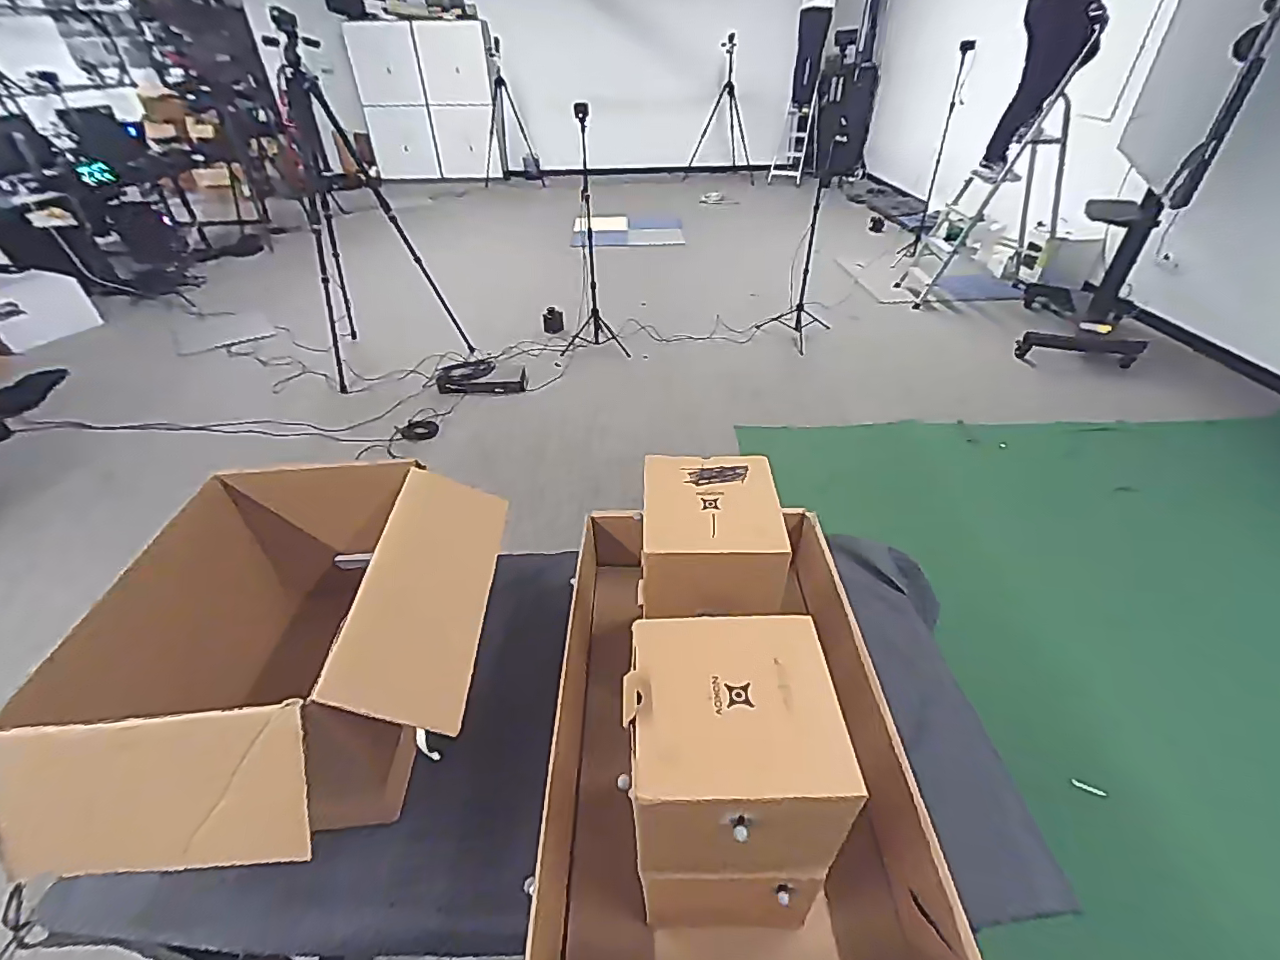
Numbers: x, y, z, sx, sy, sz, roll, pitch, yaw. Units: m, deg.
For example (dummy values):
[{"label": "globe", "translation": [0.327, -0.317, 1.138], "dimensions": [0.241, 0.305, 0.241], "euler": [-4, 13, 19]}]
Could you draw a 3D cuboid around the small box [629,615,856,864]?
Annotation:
[{"label": "small box", "translation": [0.081, 0.250, 0.522], "dimensions": [0.179, 0.176, 0.168], "euler": [-1, 39, 0]}]

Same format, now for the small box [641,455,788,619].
[{"label": "small box", "translation": [0.086, 0.086, 0.716], "dimensions": [0.168, 0.176, 0.179], "euler": [0, 42, 1]}]
